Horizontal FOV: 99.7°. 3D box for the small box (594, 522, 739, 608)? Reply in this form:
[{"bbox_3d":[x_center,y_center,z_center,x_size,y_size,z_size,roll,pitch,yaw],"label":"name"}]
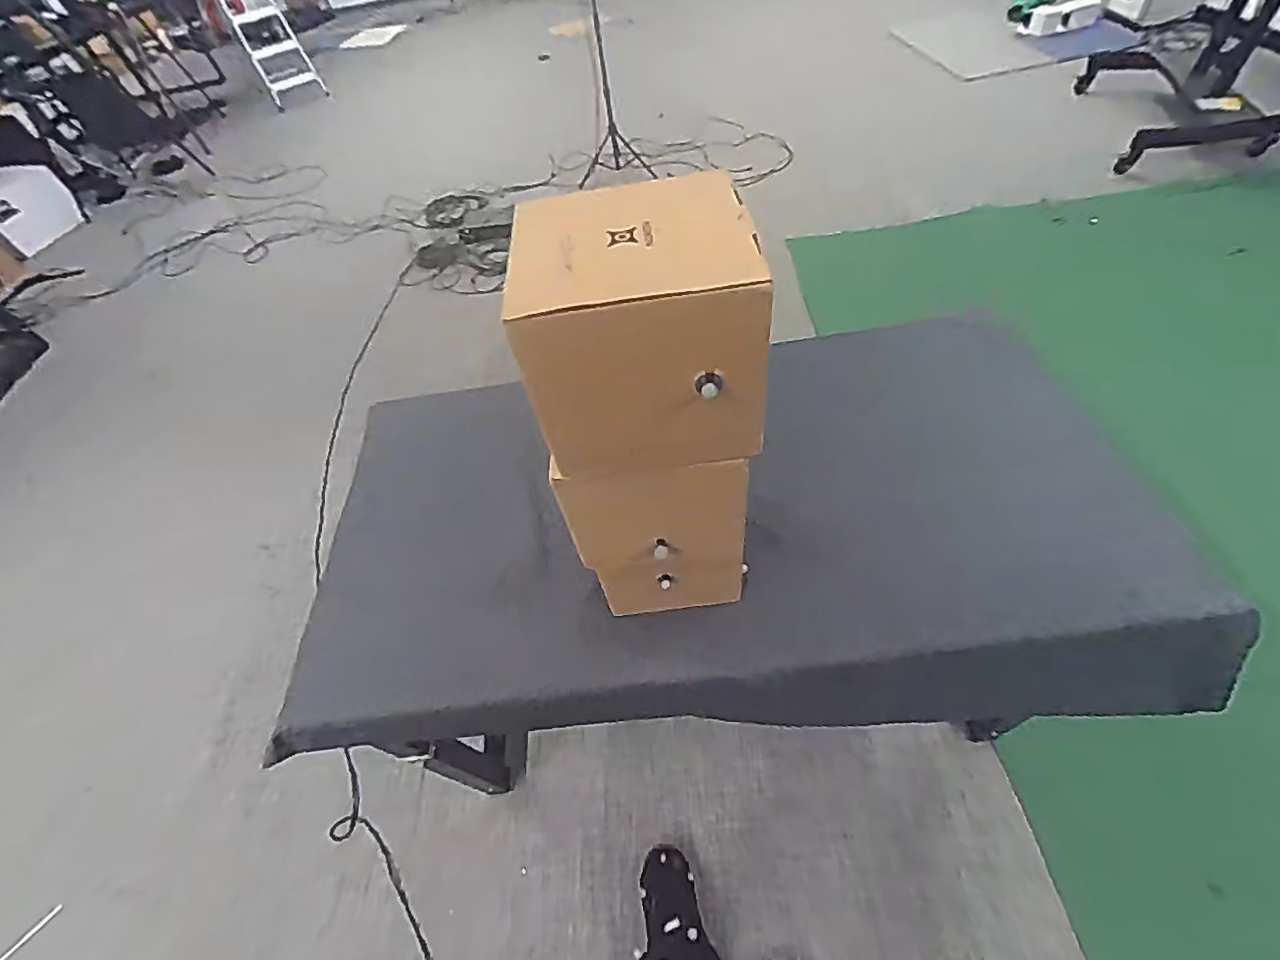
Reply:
[{"bbox_3d":[0.031,0.057,0.723,0.179,0.176,0.168,-8,52,4],"label":"small box"}]

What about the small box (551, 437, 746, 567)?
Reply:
[{"bbox_3d":[0.010,-0.023,0.584,0.179,0.176,0.168,-9,53,3],"label":"small box"}]

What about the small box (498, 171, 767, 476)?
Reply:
[{"bbox_3d":[-0.001,-0.123,0.453,0.179,0.176,0.168,-9,51,4],"label":"small box"}]
